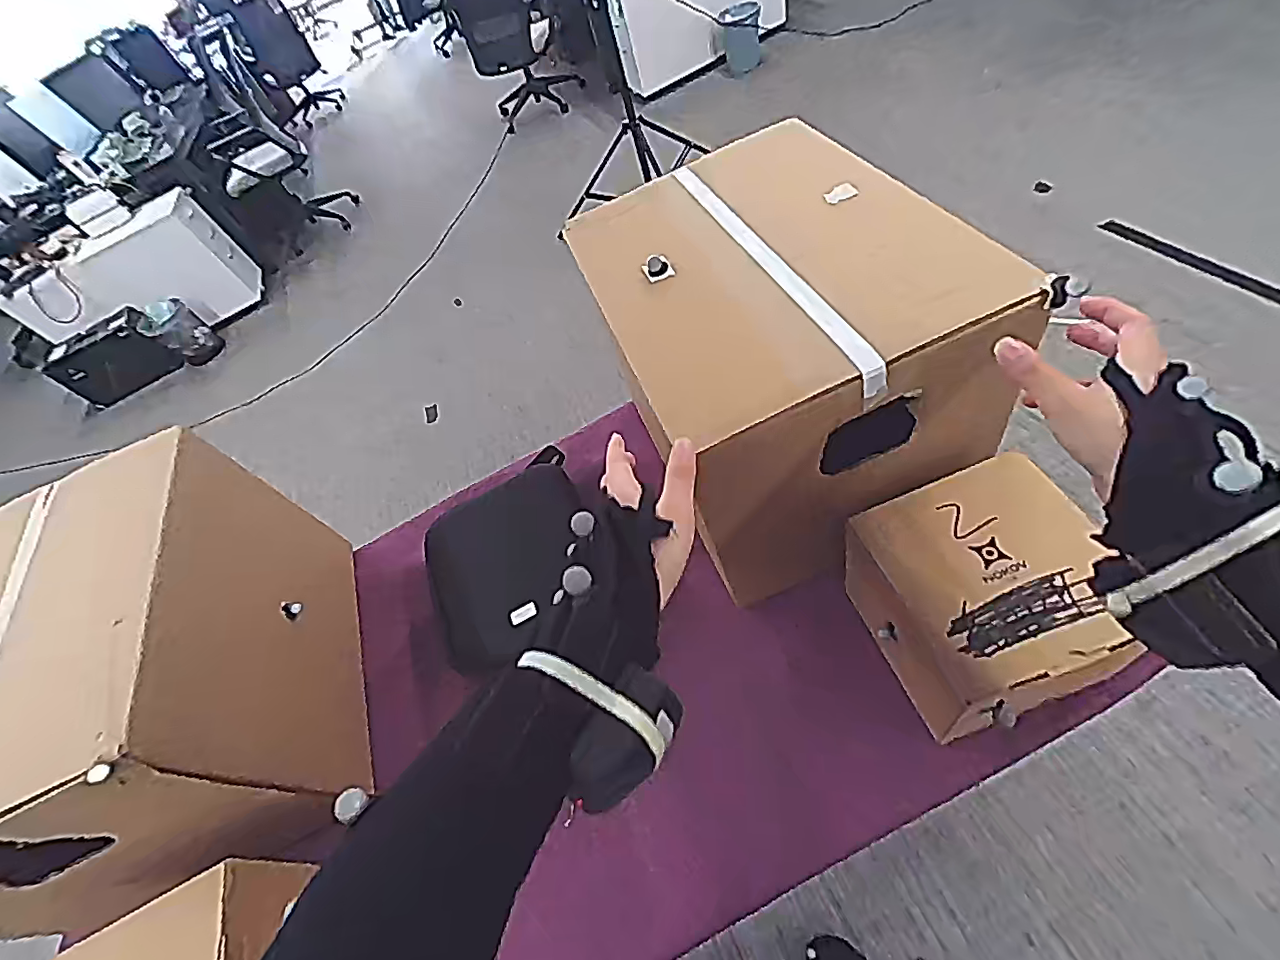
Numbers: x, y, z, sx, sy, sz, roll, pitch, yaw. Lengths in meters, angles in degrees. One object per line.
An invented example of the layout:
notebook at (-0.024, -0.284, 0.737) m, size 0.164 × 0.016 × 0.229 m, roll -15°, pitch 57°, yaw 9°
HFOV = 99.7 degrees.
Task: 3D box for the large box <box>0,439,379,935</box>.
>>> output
large box at (-0.564, 0.234, 0.650) m, size 0.320 × 0.320 × 0.408 m, roll -28°, pitch 54°, yaw -3°
